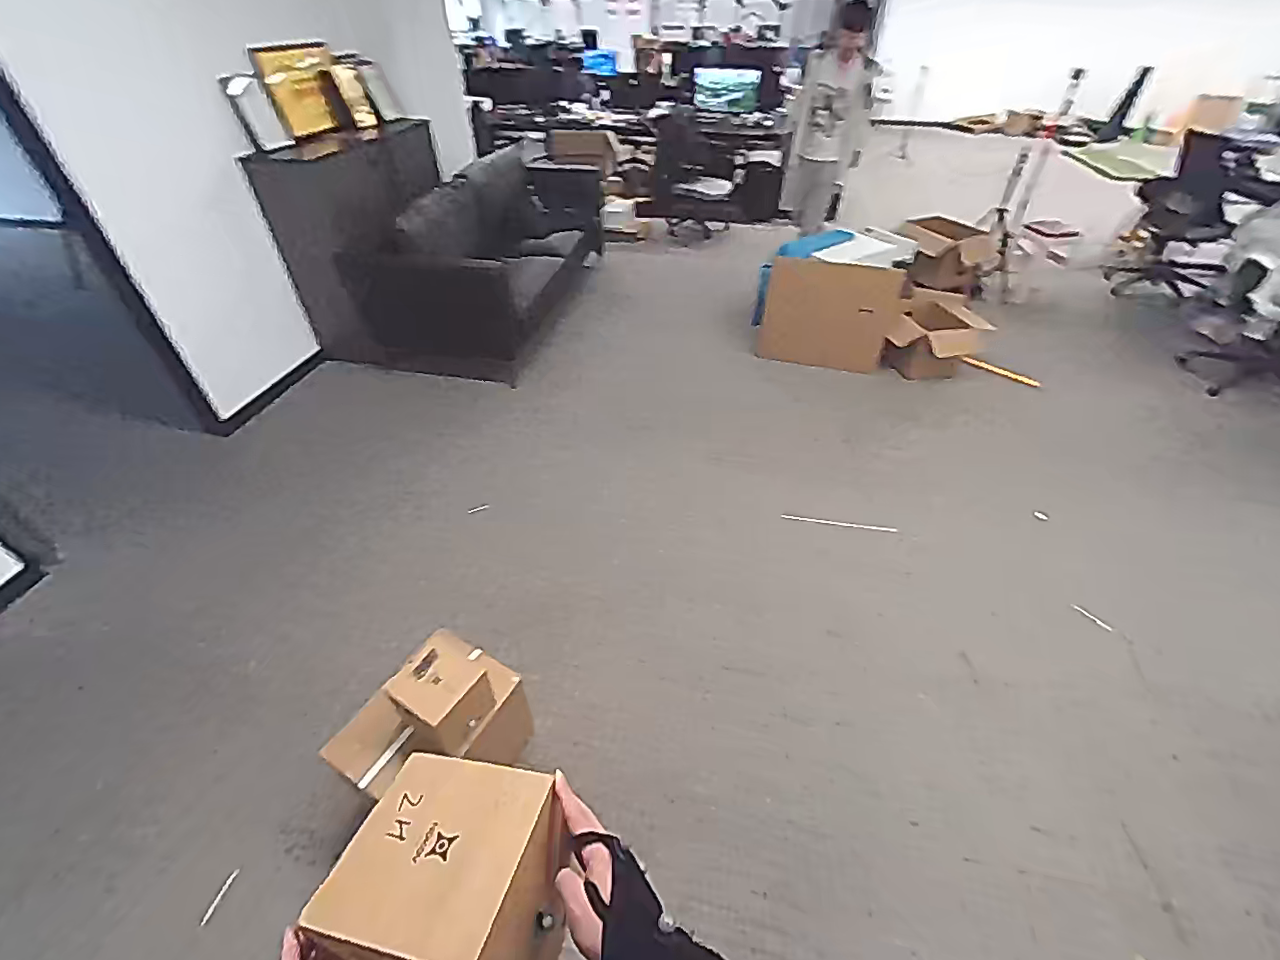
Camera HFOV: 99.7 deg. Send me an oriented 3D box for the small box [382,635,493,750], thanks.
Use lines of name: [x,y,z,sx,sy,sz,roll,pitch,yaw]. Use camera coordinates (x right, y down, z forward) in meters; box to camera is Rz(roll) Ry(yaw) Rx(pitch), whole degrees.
small box: [-0.486,0.521,1.319,0.179,0.176,0.168,24,46,22]
